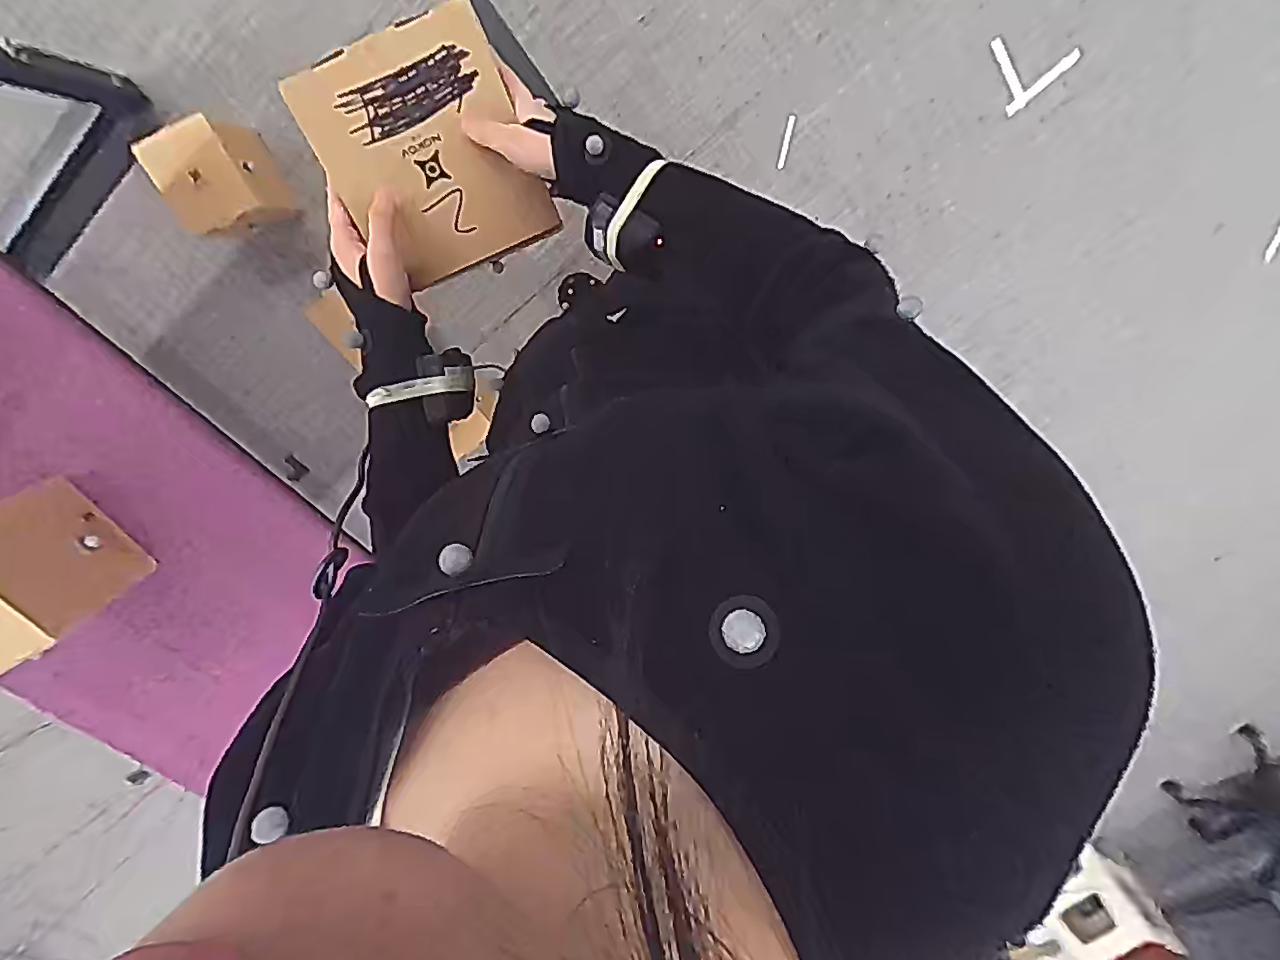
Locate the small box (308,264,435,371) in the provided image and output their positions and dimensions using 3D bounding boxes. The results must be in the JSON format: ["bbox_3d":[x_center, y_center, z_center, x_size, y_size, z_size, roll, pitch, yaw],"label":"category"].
[{"bbox_3d":[-0.620,-0.386,1.273,0.168,0.176,0.179,-33,112,11],"label":"small box"}]

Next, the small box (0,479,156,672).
[{"bbox_3d":[-0.802,0.127,0.697,0.179,0.176,0.168,-26,114,8],"label":"small box"}]

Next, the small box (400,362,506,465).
[{"bbox_3d":[-0.465,-0.176,1.381,0.168,0.176,0.179,-36,112,12],"label":"small box"}]

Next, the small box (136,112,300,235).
[{"bbox_3d":[-0.875,-0.635,1.142,0.168,0.176,0.179,-21,115,6],"label":"small box"}]
